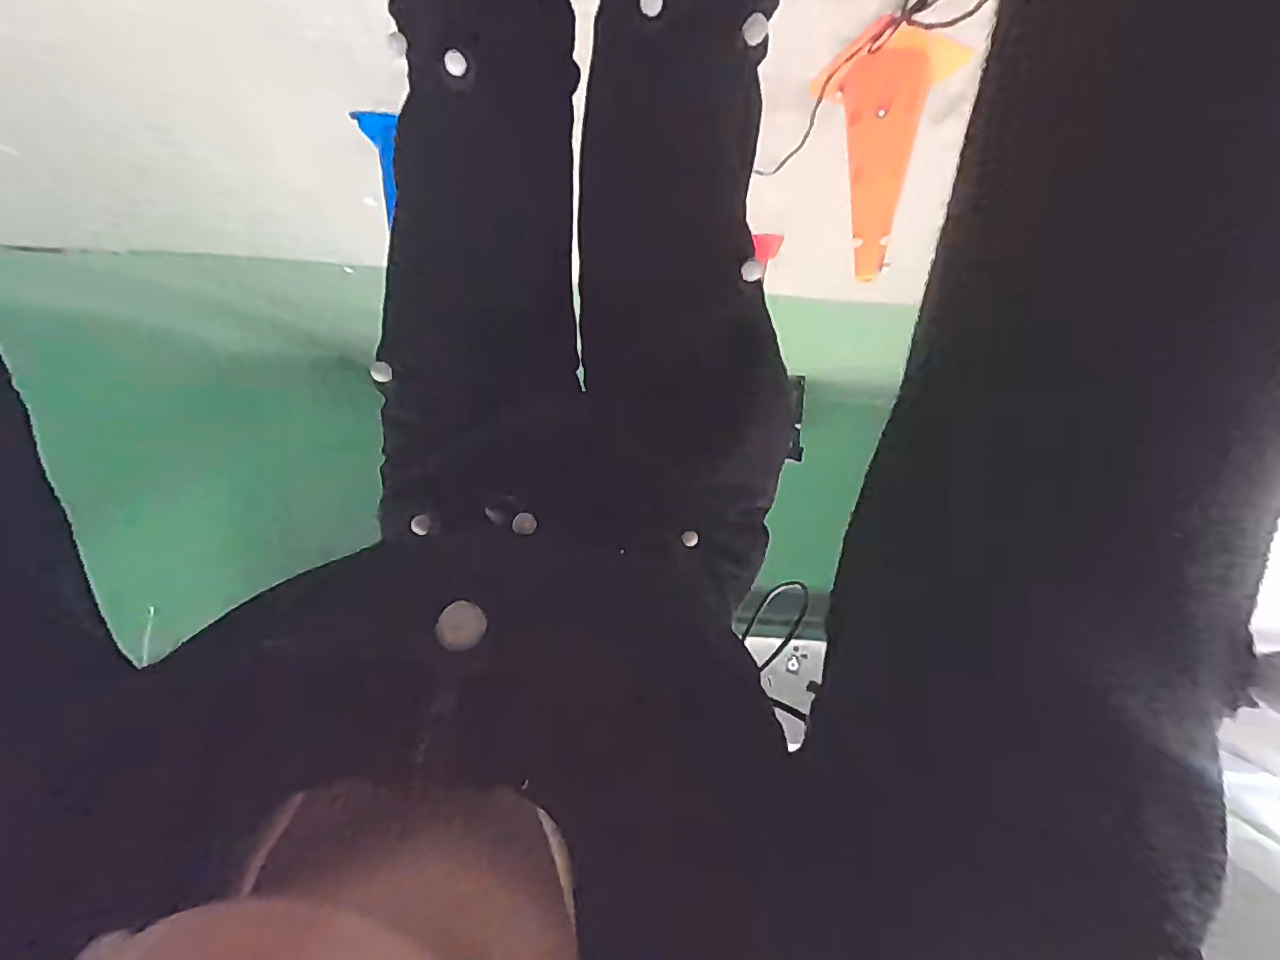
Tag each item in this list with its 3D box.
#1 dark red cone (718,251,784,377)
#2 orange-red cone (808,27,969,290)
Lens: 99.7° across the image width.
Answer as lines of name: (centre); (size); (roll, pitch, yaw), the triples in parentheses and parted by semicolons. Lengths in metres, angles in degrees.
dark red cone: (0.347, -0.539, 1.770); (0.202, 0.394, 0.201); (4, -174, 7)
orange-red cone: (0.409, -0.515, 0.937); (0.199, 0.360, 0.198); (2, -175, -20)
